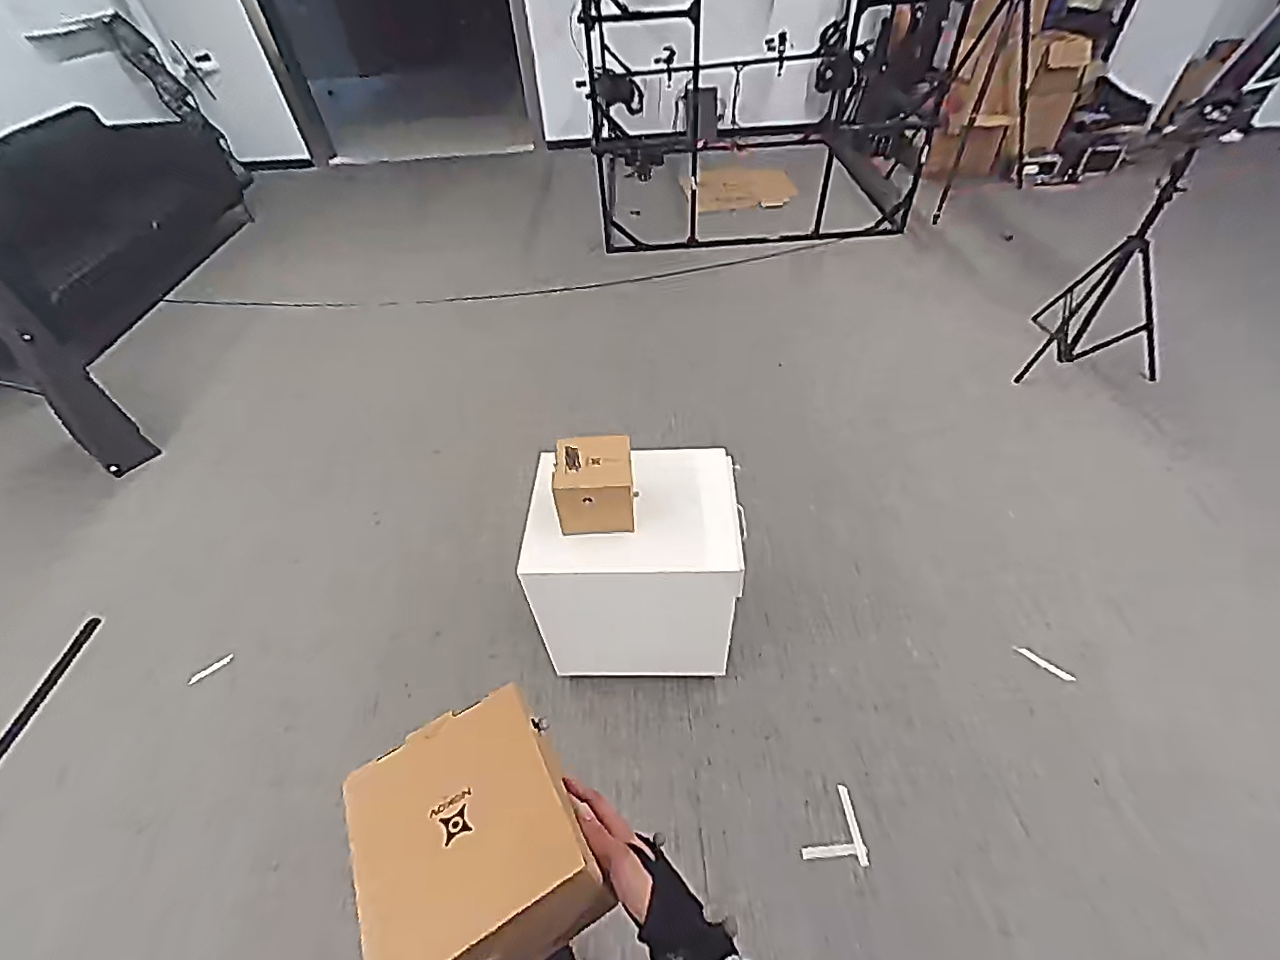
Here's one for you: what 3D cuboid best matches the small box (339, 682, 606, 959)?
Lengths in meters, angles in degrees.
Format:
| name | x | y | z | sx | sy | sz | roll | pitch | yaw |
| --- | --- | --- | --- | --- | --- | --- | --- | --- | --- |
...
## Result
| name | x | y | z | sx | sy | sz | roll | pitch | yaw |
| --- | --- | --- | --- | --- | --- | --- | --- | --- | --- |
| small box | -0.148 | 0.334 | 0.503 | 0.168 | 0.176 | 0.179 | -26 | 45 | -17 |

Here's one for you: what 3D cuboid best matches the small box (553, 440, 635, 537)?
| name | x | y | z | sx | sy | sz | roll | pitch | yaw |
| --- | --- | --- | --- | --- | --- | --- | --- | --- | --- |
| small box | -0.103 | 0.023 | 1.297 | 0.179 | 0.176 | 0.168 | -2 | 47 | 0 |
